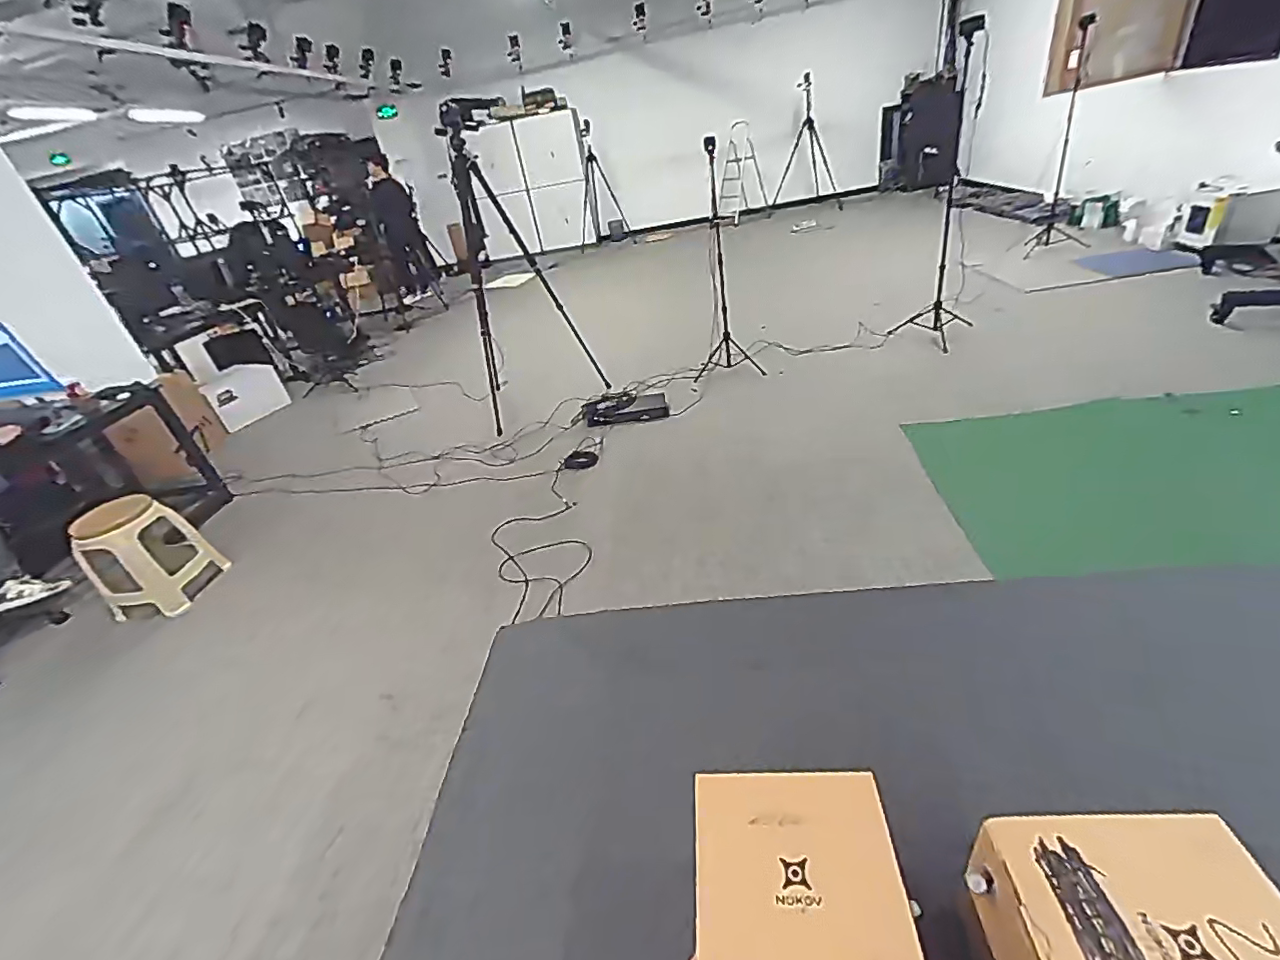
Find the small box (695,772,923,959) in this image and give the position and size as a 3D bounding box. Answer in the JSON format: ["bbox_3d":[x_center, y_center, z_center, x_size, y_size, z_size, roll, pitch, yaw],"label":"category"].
[{"bbox_3d":[0.140,0.391,0.479,0.168,0.176,0.179,-5,31,8],"label":"small box"}]
